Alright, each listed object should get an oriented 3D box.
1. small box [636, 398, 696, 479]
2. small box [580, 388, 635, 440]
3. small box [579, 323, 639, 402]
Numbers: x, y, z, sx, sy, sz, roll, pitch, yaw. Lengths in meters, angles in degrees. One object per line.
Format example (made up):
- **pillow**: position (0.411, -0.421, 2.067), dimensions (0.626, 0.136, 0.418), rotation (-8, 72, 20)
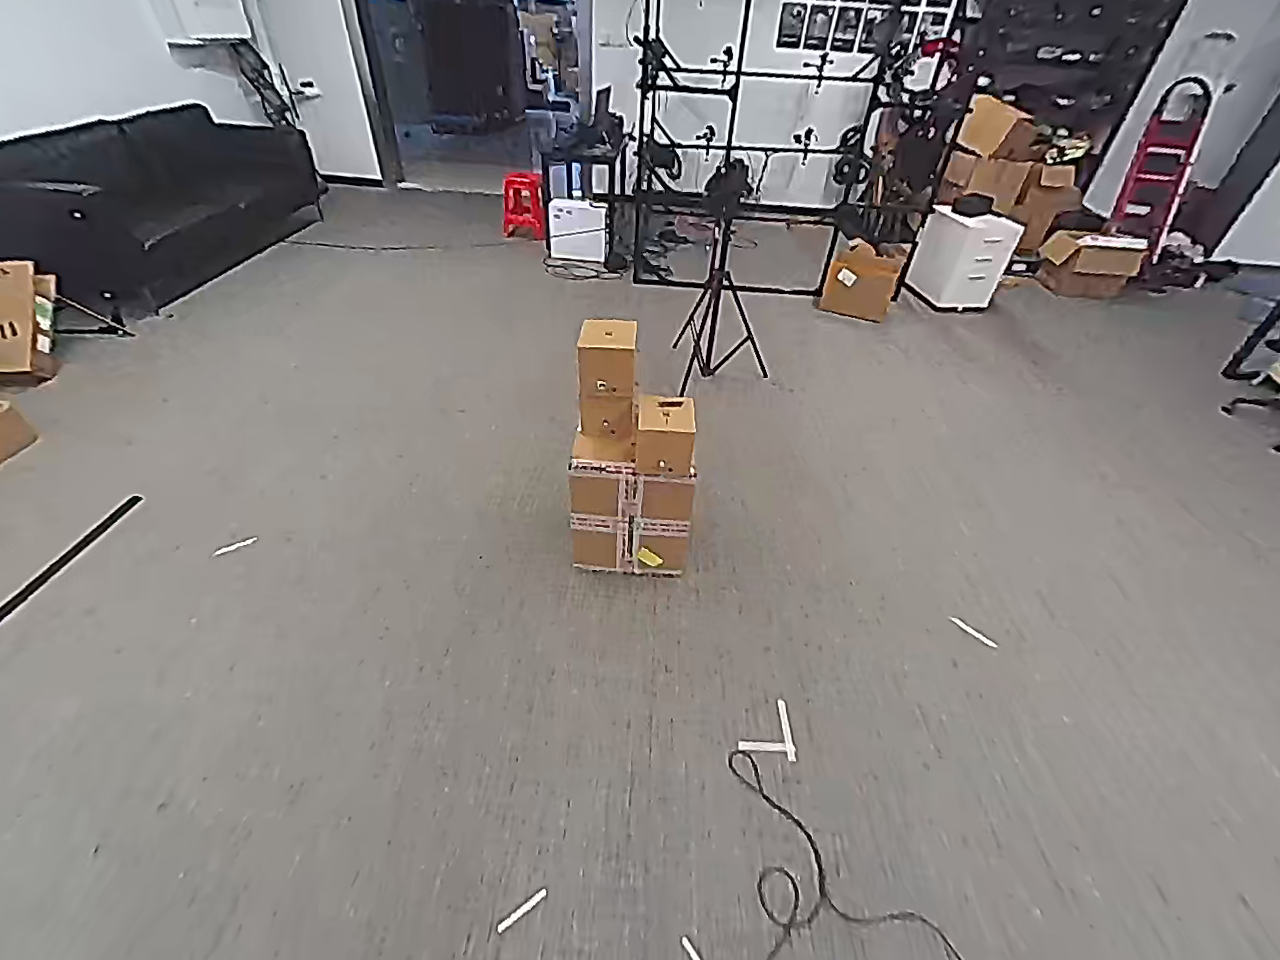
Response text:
- **small box**: position (0.074, -0.126, 1.635), dimensions (0.168, 0.176, 0.179), rotation (3, 43, -1)
- **small box**: position (-0.101, -0.251, 1.765), dimensions (0.168, 0.176, 0.179), rotation (3, 42, 1)
- **small box**: position (-0.092, -0.358, 1.641), dimensions (0.168, 0.176, 0.179), rotation (2, 43, 1)
